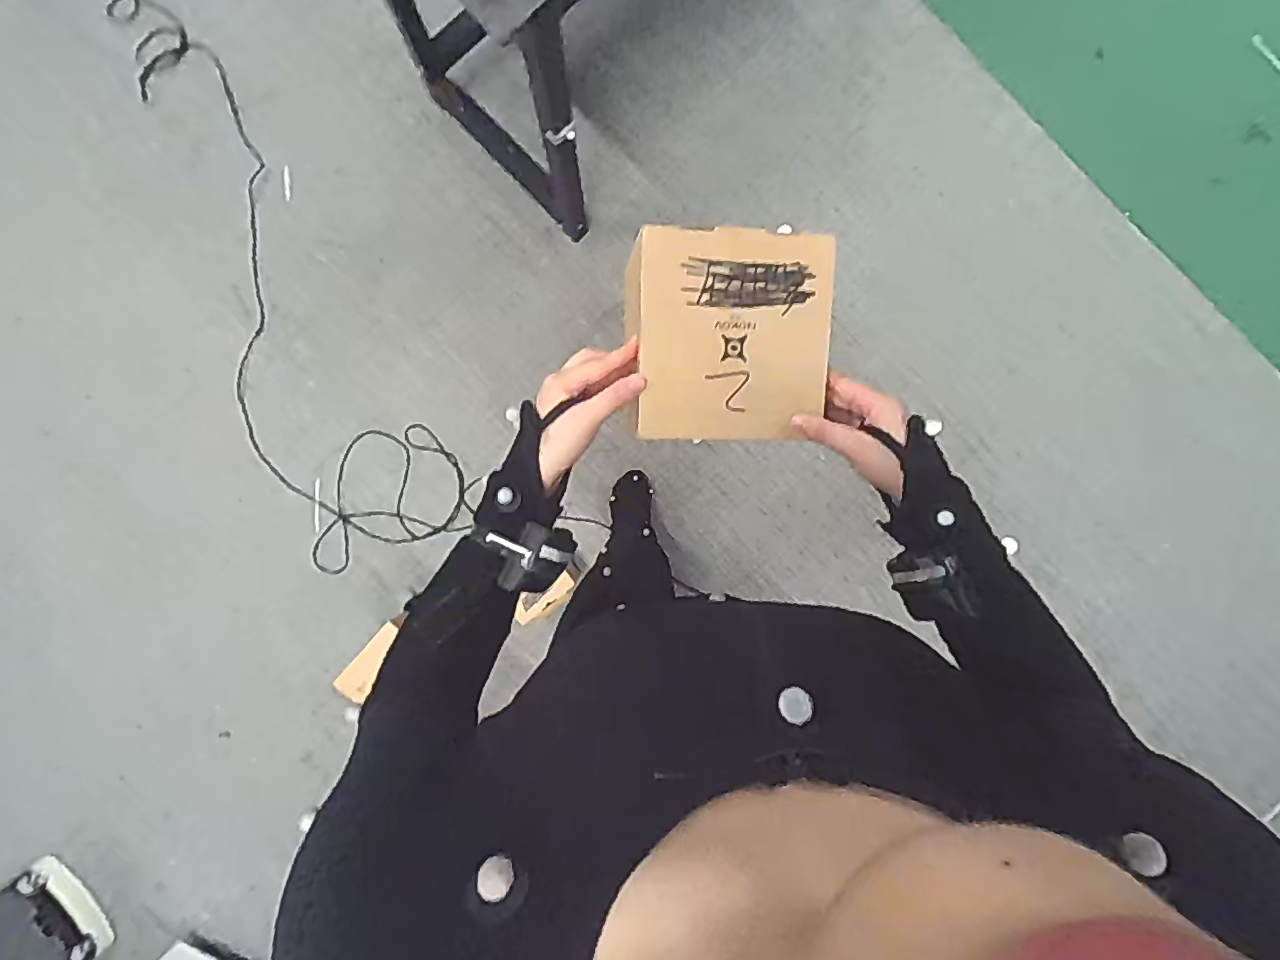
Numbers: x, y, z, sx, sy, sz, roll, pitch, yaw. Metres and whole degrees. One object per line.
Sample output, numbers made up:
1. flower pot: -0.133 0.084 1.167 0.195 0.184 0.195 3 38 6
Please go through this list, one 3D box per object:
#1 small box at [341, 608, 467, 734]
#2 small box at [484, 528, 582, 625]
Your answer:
1. small box: -0.509 0.413 1.204 0.168 0.176 0.179 41 88 -1
2. small box: -0.263 0.237 1.382 0.168 0.176 0.179 -38 89 -3
